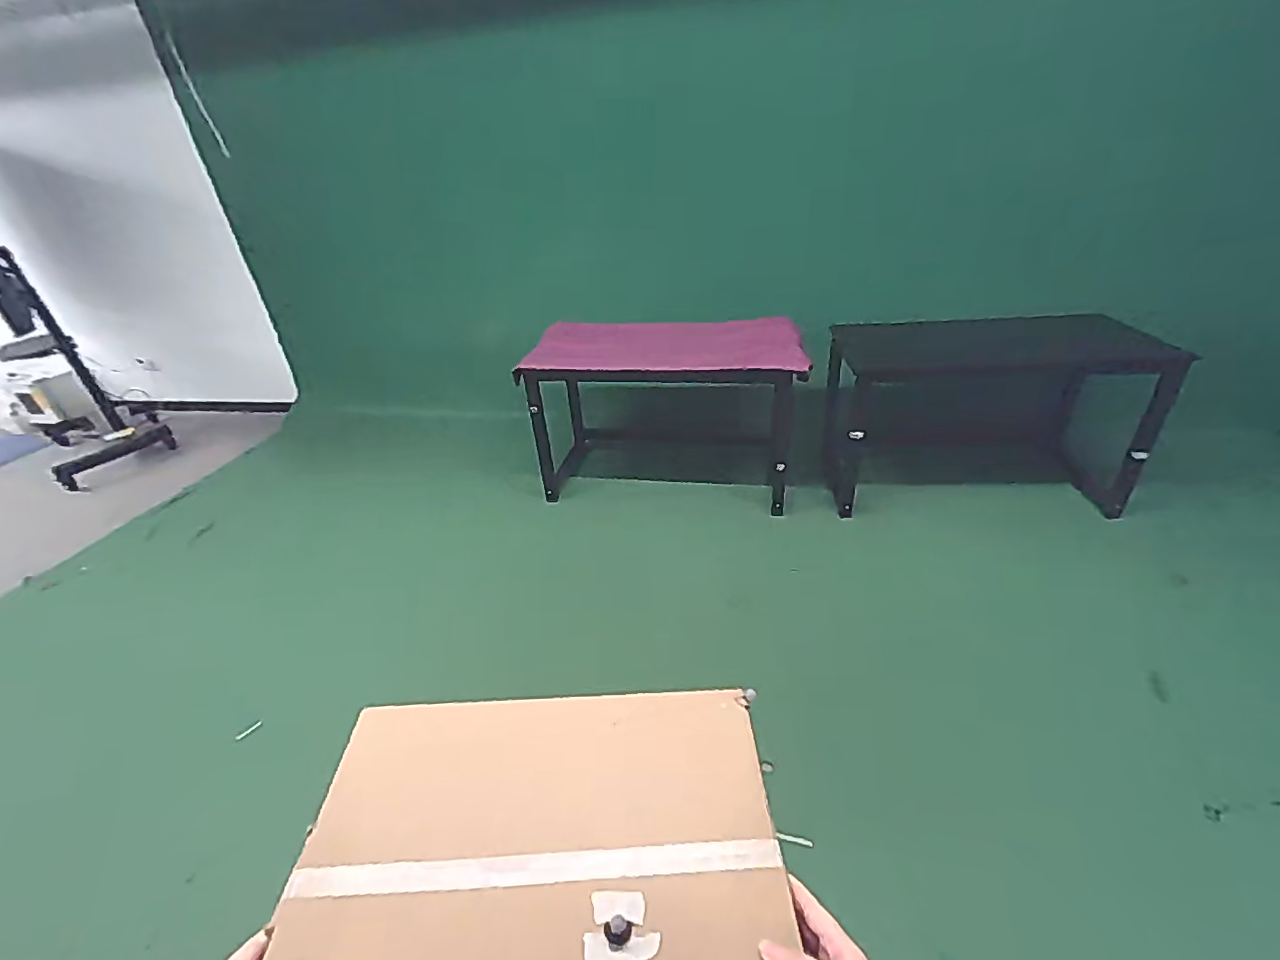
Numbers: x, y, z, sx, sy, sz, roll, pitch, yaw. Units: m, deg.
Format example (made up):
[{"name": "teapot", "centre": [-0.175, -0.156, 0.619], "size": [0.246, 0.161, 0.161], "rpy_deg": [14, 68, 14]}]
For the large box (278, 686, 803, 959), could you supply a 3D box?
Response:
[{"name": "large box", "centre": [-0.080, 0.443, 0.551], "size": [0.408, 0.320, 0.320], "rpy_deg": [-1, 37, -2]}]
